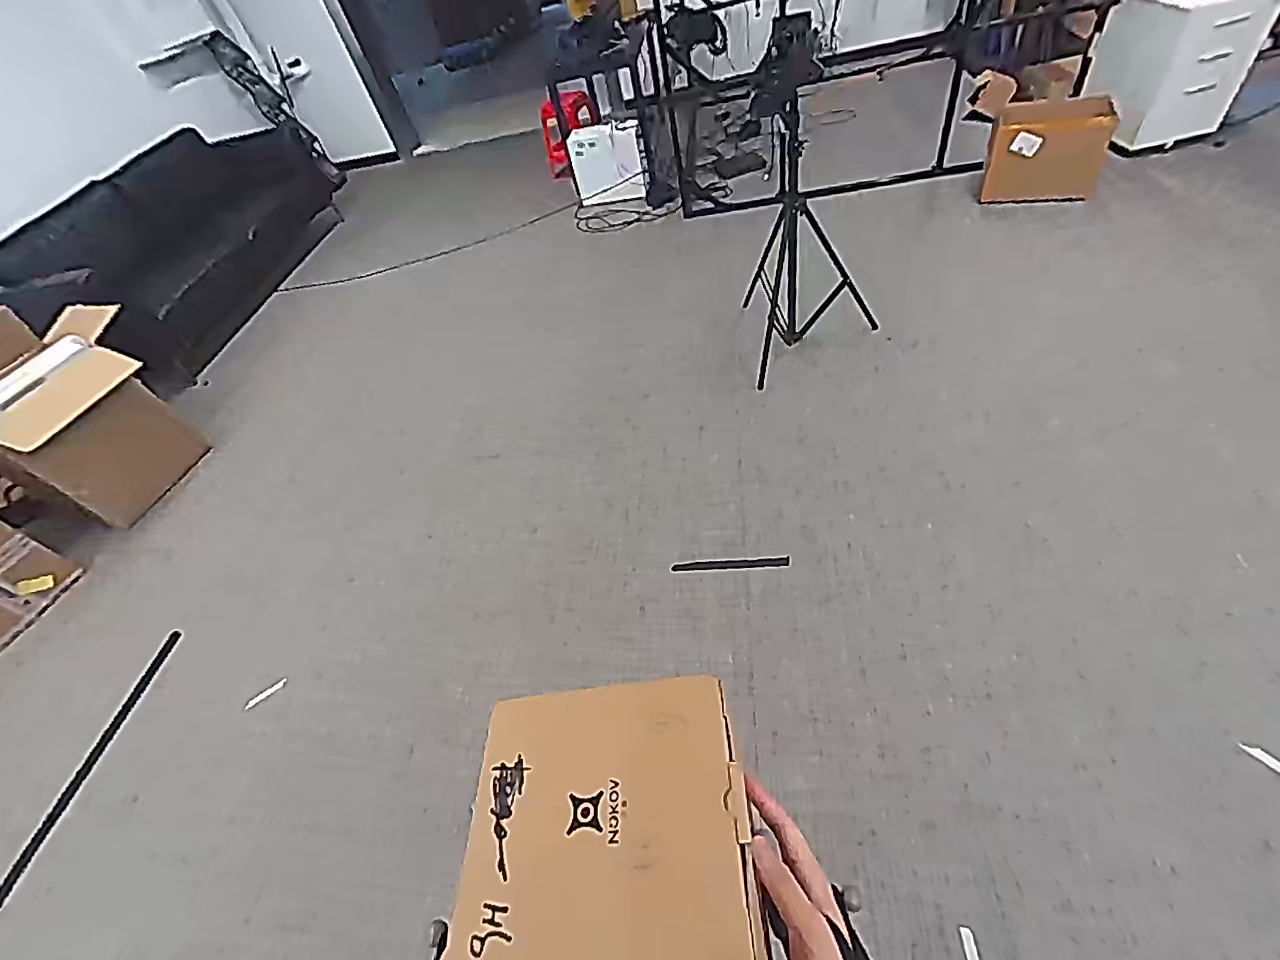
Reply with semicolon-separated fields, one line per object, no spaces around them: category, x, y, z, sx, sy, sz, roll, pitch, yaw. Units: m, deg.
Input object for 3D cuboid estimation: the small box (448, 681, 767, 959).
small box;-0.006;0.267;0.391;0.179;0.176;0.168;-9;42;8
